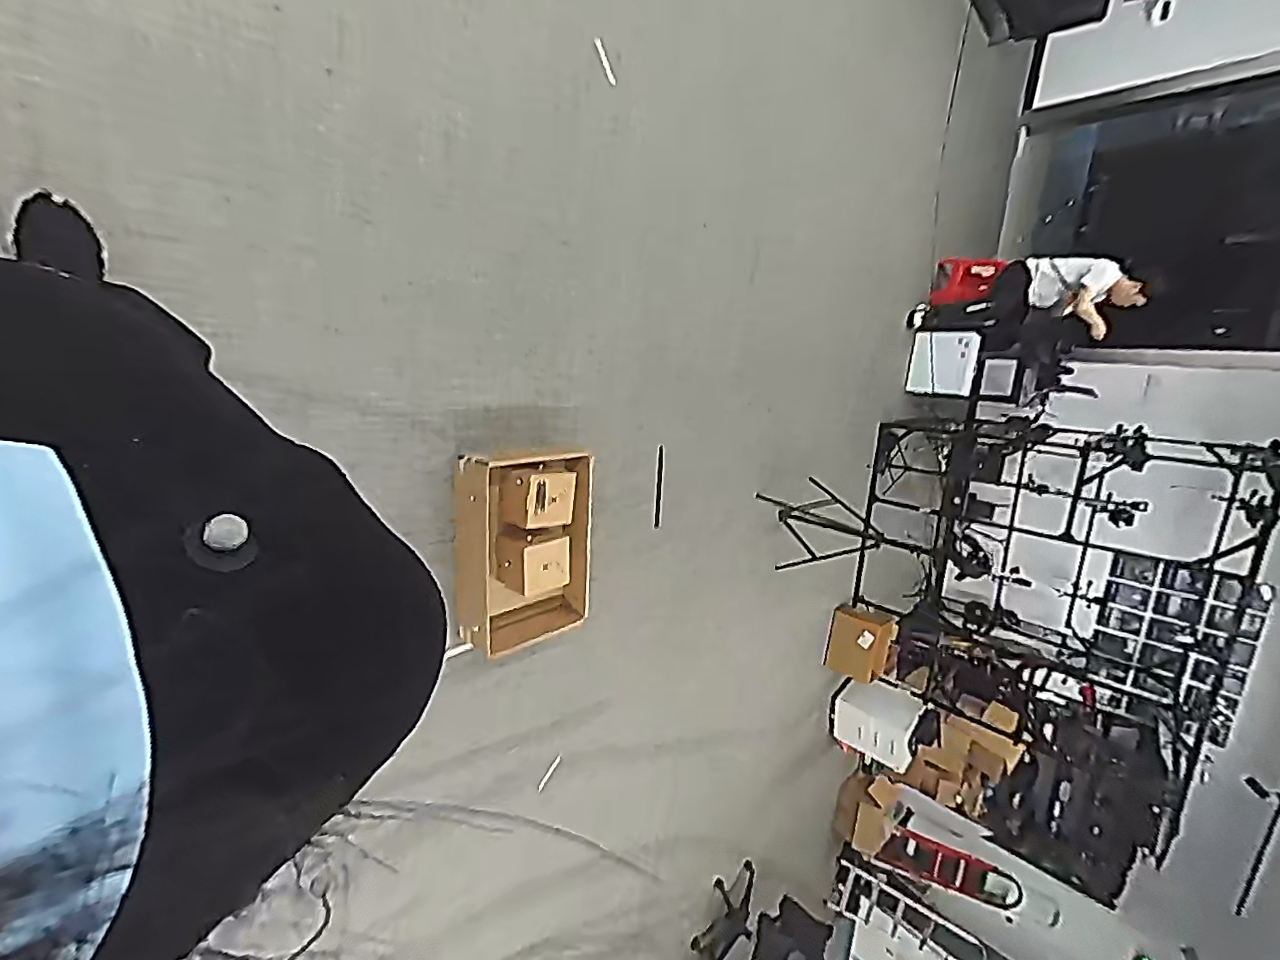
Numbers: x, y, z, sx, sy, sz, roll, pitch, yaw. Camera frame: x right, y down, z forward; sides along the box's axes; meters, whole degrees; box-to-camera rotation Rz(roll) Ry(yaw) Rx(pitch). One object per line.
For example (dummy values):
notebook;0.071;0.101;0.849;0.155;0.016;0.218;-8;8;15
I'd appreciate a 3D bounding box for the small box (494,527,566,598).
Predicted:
small box;-0.361;0.261;1.760;0.179;0.176;0.168;-10;109;-45
